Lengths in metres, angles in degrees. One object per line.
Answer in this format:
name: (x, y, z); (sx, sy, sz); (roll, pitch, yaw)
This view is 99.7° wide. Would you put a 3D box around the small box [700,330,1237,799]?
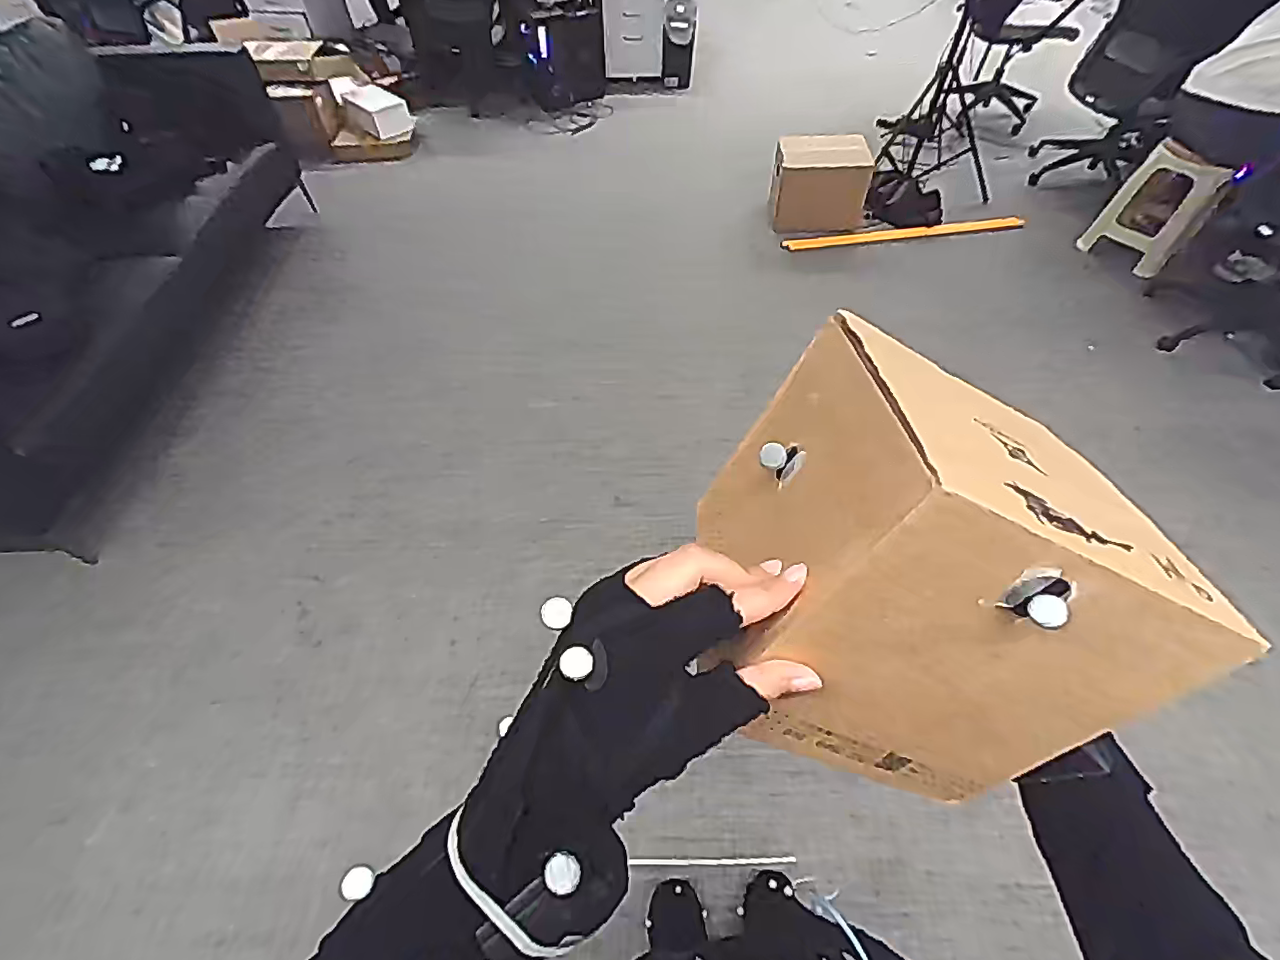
small box: (0.145, 0.046, 0.319); (0.168, 0.176, 0.179); (23, 34, -11)
